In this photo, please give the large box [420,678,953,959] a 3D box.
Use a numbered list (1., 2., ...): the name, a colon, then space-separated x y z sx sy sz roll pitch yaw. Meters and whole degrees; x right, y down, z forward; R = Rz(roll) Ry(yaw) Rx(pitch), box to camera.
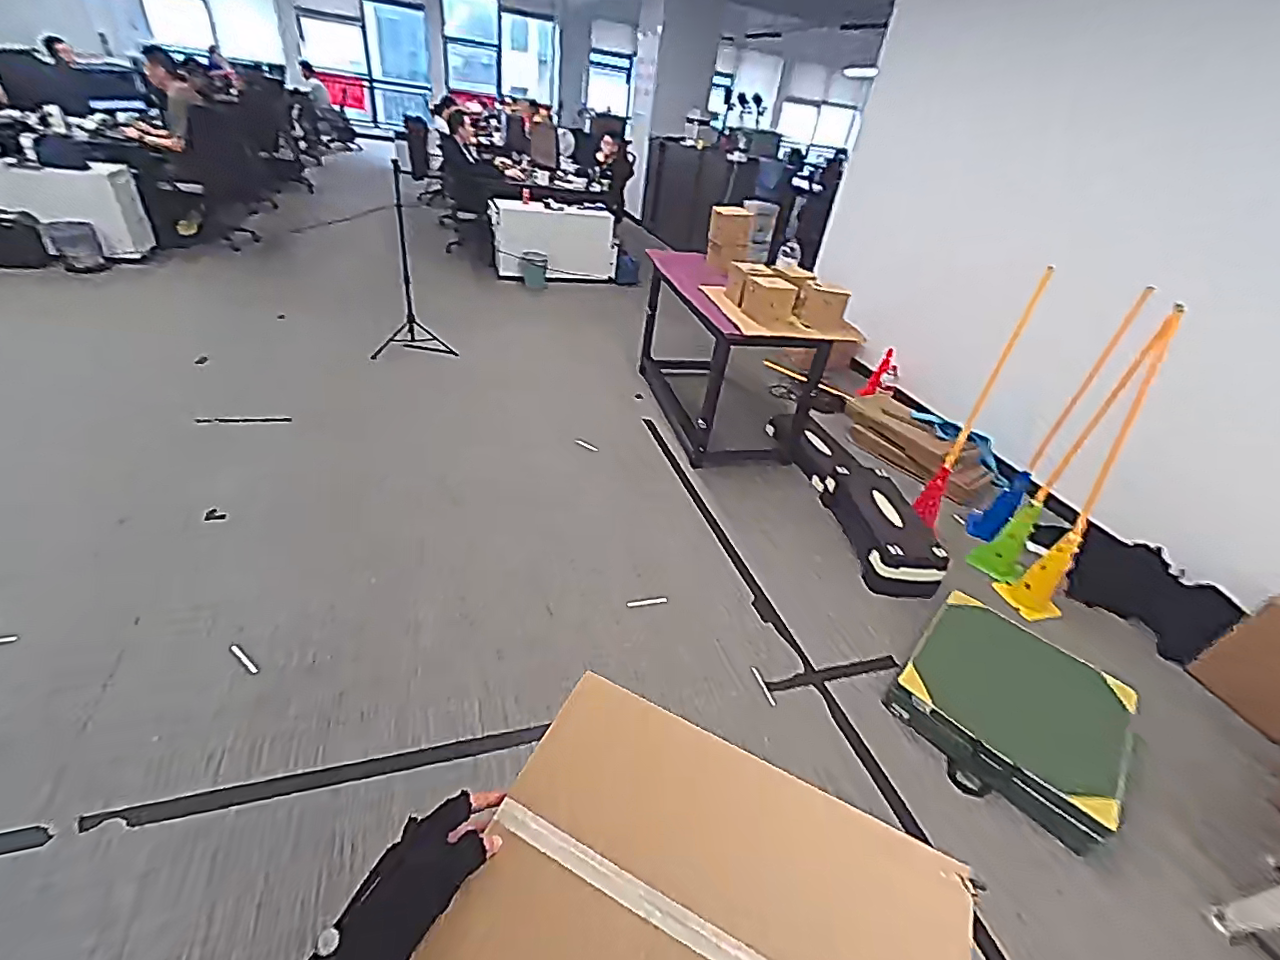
1. large box: 0.041 0.488 0.562 0.408 0.320 0.320 21 46 17
